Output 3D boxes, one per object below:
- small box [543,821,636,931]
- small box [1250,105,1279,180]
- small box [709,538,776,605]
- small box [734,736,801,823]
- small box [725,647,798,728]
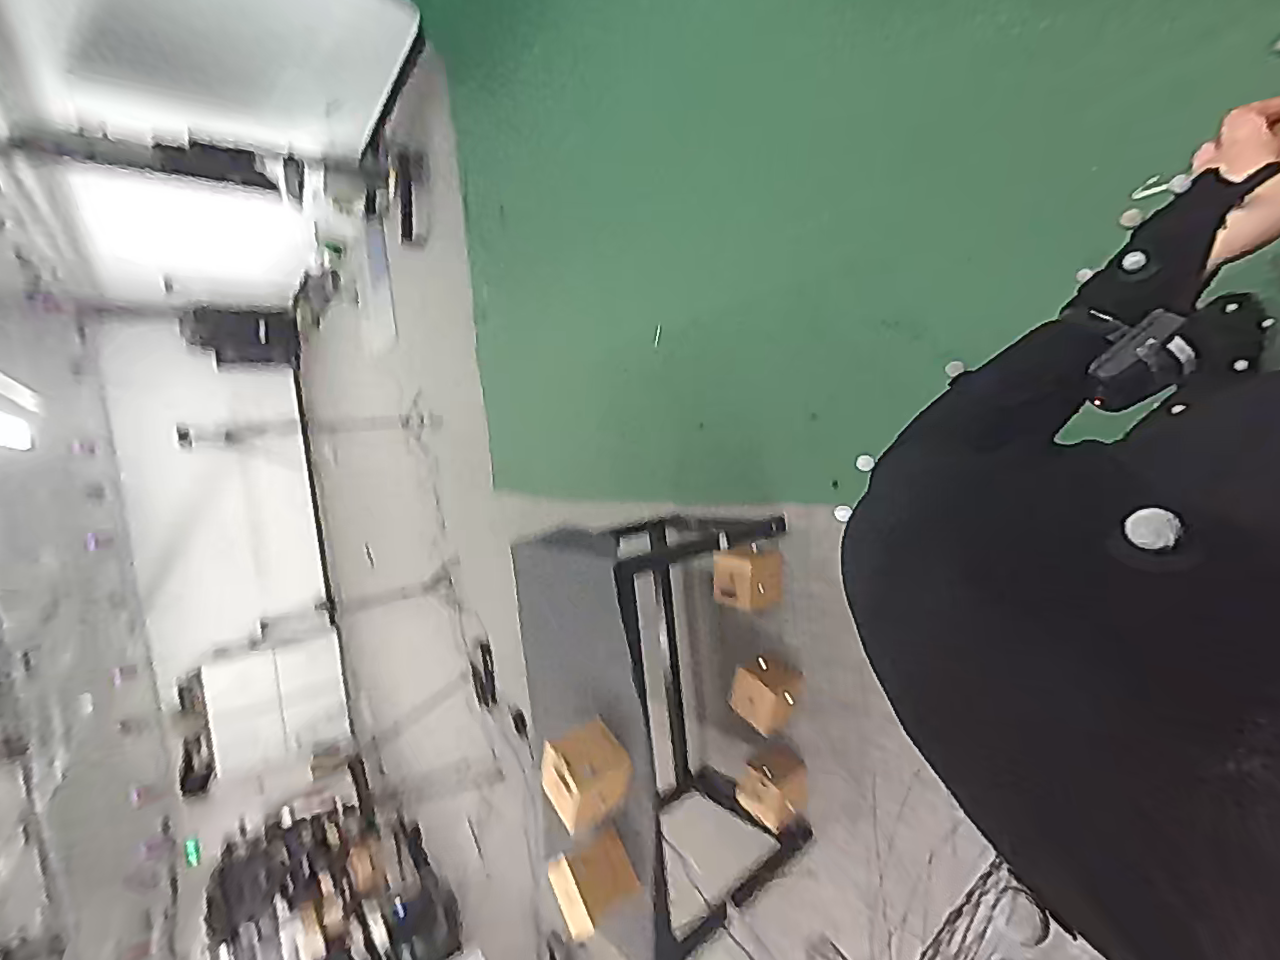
[{"bbox_3d":[-0.138,1.090,1.495,0.179,0.176,0.168,55,134,28],"label":"small box"},{"bbox_3d":[0.583,-0.254,0.357,0.168,0.176,0.179,54,151,1],"label":"small box"},{"bbox_3d":[0.359,0.313,1.882,0.168,0.176,0.179,7,102,49],"label":"small box"},{"bbox_3d":[0.454,1.058,1.925,0.168,0.176,0.179,17,111,47],"label":"small box"},{"bbox_3d":[0.426,0.714,1.886,0.168,0.176,0.179,28,120,45],"label":"small box"}]
